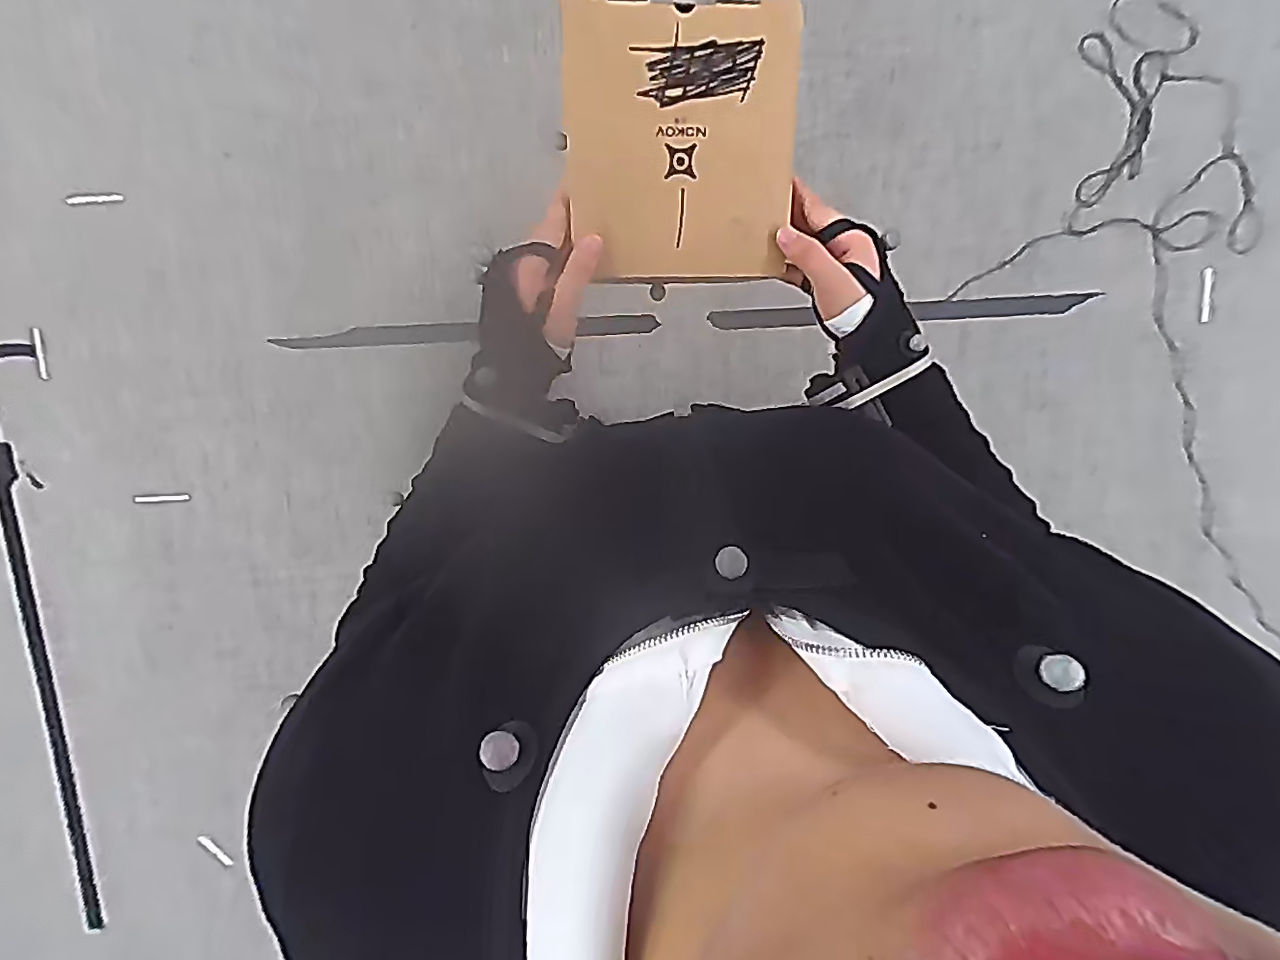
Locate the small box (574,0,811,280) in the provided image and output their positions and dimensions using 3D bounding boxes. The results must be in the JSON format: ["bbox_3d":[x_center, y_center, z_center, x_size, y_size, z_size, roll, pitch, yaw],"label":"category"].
[{"bbox_3d":[0.029,-0.268,0.462,0.168,0.176,0.179,-1,109,-3],"label":"small box"}]
